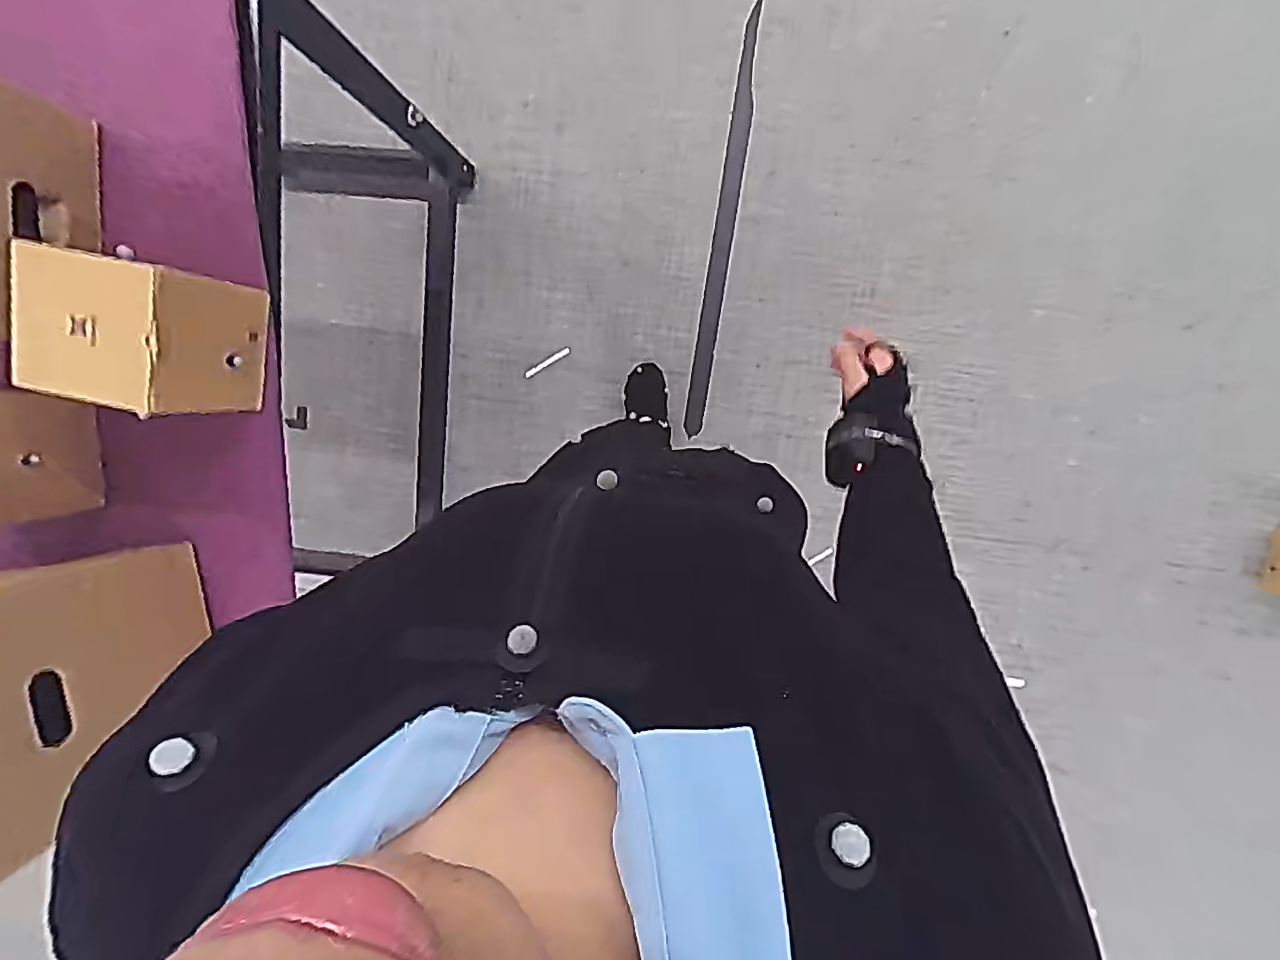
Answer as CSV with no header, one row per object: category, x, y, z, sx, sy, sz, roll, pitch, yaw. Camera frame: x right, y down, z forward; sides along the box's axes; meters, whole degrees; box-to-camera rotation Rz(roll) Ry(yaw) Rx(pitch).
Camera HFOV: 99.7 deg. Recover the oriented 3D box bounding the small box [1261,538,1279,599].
small box,1.657,0.225,1.279,0.179,0.176,0.168,4,99,4
